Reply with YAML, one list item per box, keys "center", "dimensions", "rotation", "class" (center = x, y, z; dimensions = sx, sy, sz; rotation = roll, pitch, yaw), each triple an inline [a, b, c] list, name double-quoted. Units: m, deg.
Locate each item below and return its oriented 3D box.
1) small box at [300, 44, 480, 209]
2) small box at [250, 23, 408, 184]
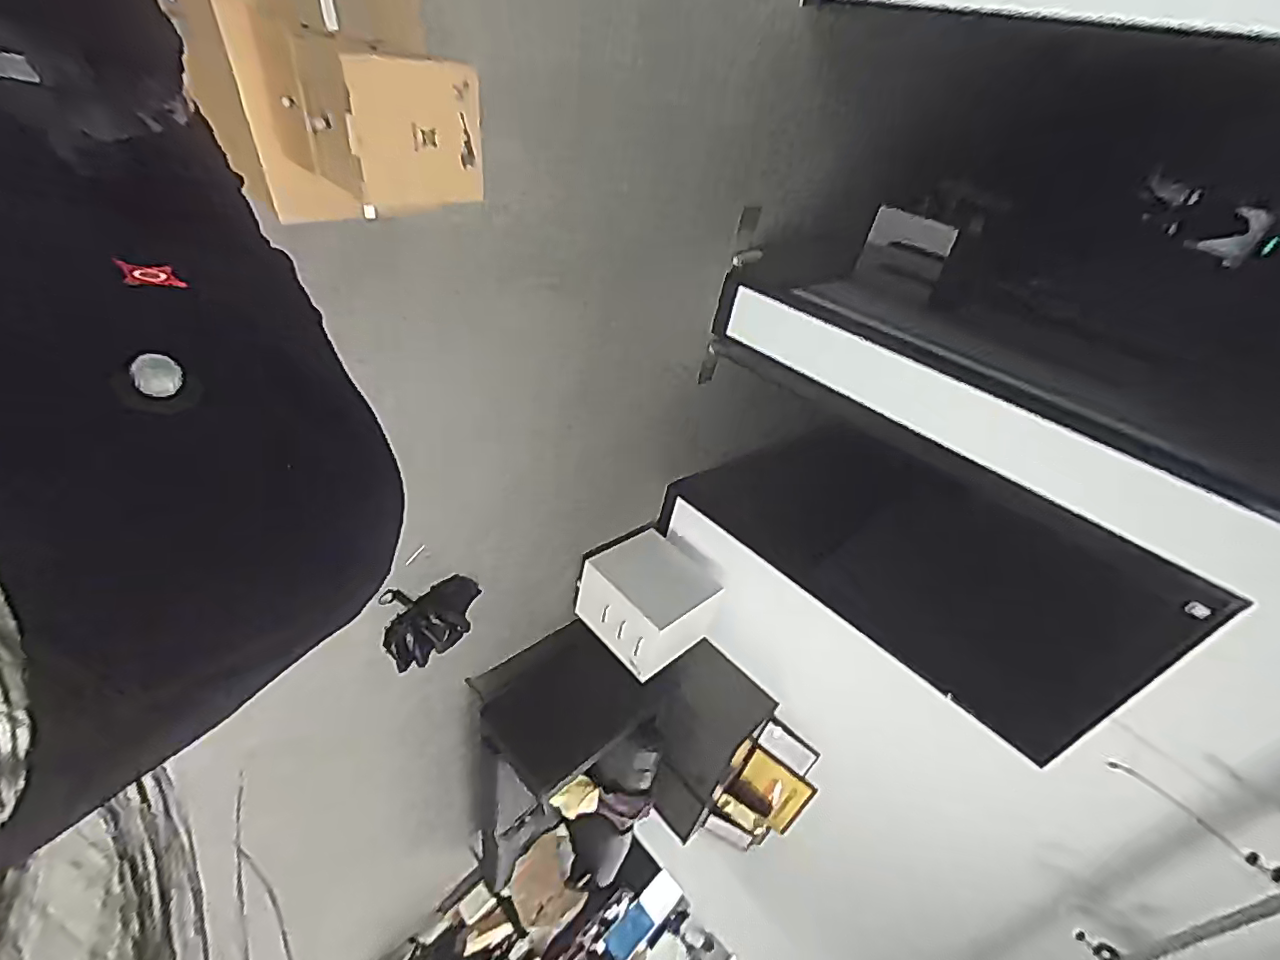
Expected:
- center: [-0.346, -0.489, 0.753]
  dimensions: [0.179, 0.176, 0.168]
  rotation: [-25, 140, -36]
  class: "small box"
- center: [-0.462, -0.575, 0.830]
  dimensions: [0.168, 0.176, 0.179]
  rotation: [-26, 142, -36]
  class: "small box"
